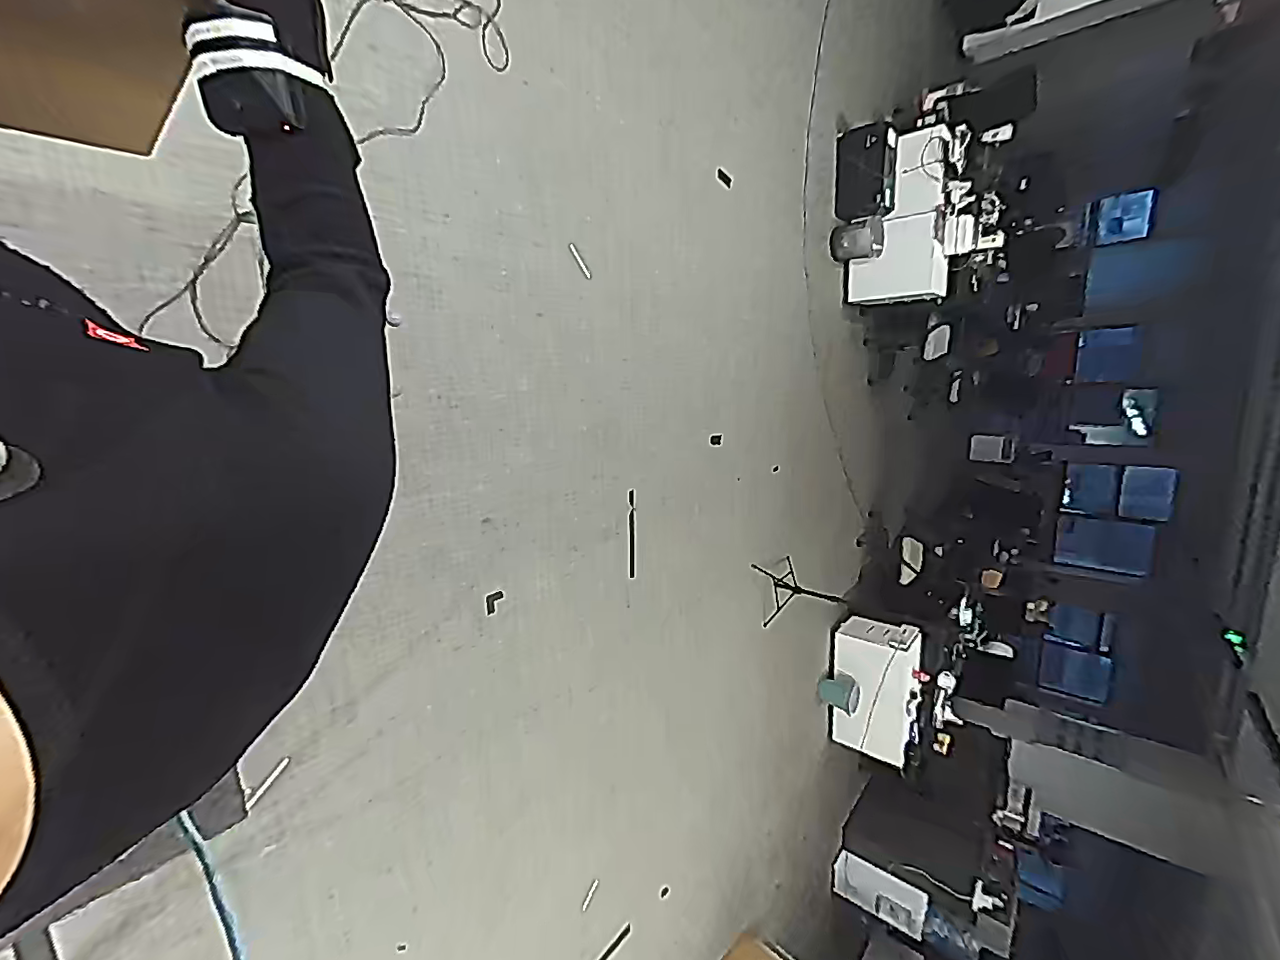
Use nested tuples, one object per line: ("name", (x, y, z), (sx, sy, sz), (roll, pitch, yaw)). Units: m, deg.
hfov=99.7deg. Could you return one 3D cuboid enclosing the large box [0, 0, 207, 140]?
("large box", (-0.520, -0.434, 0.267), (0.408, 0.320, 0.320), (-16, 106, -48))
